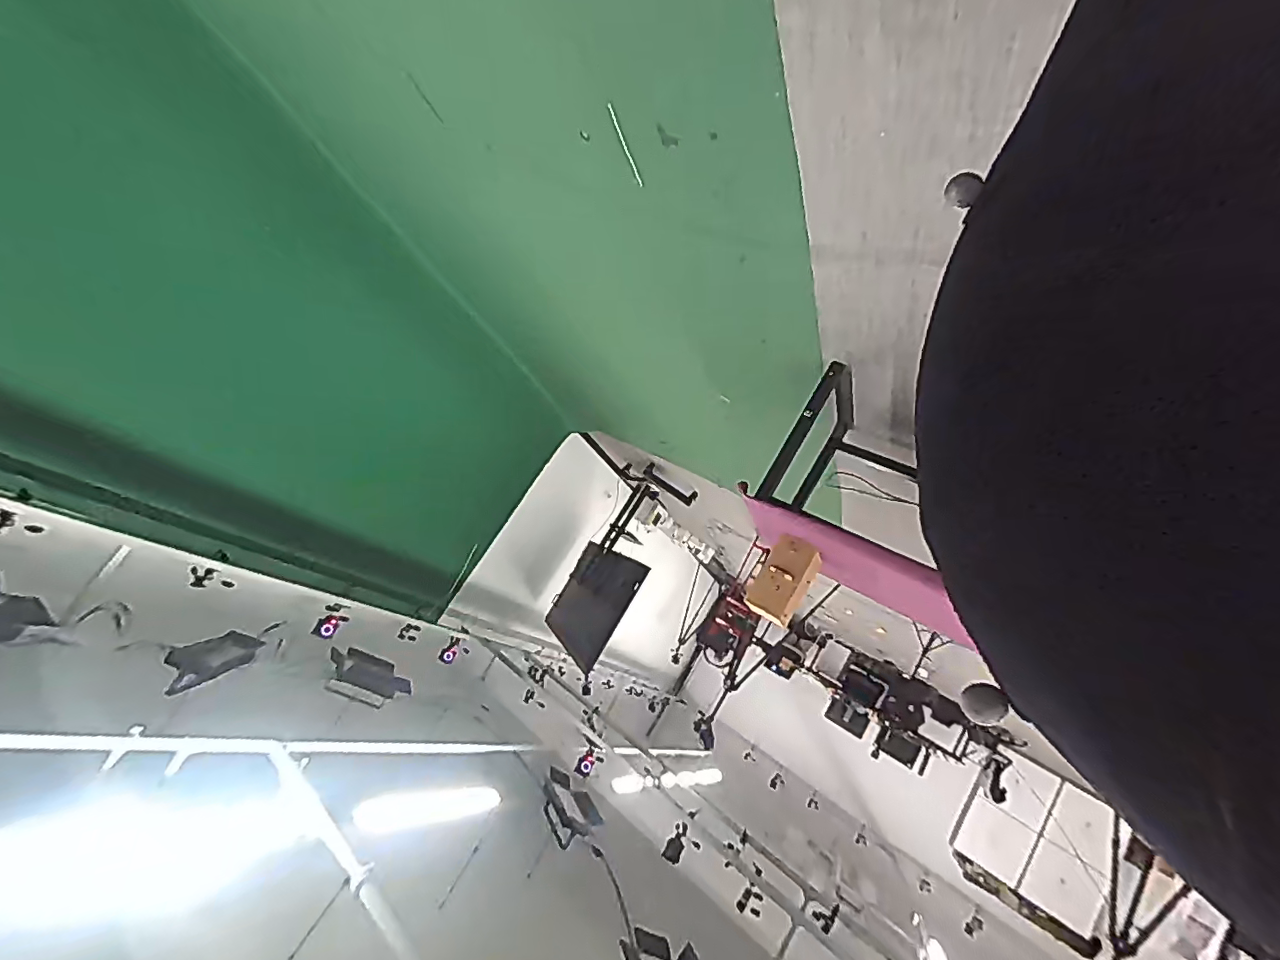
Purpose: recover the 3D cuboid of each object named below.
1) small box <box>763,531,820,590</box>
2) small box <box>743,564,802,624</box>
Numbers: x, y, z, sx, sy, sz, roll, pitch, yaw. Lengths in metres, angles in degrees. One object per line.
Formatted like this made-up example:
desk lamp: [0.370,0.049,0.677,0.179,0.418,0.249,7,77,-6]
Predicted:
small box: [0.647,0.339,2.288,0.168,0.176,0.179,24,167,32]
small box: [0.561,0.476,2.262,0.168,0.176,0.179,25,167,32]
